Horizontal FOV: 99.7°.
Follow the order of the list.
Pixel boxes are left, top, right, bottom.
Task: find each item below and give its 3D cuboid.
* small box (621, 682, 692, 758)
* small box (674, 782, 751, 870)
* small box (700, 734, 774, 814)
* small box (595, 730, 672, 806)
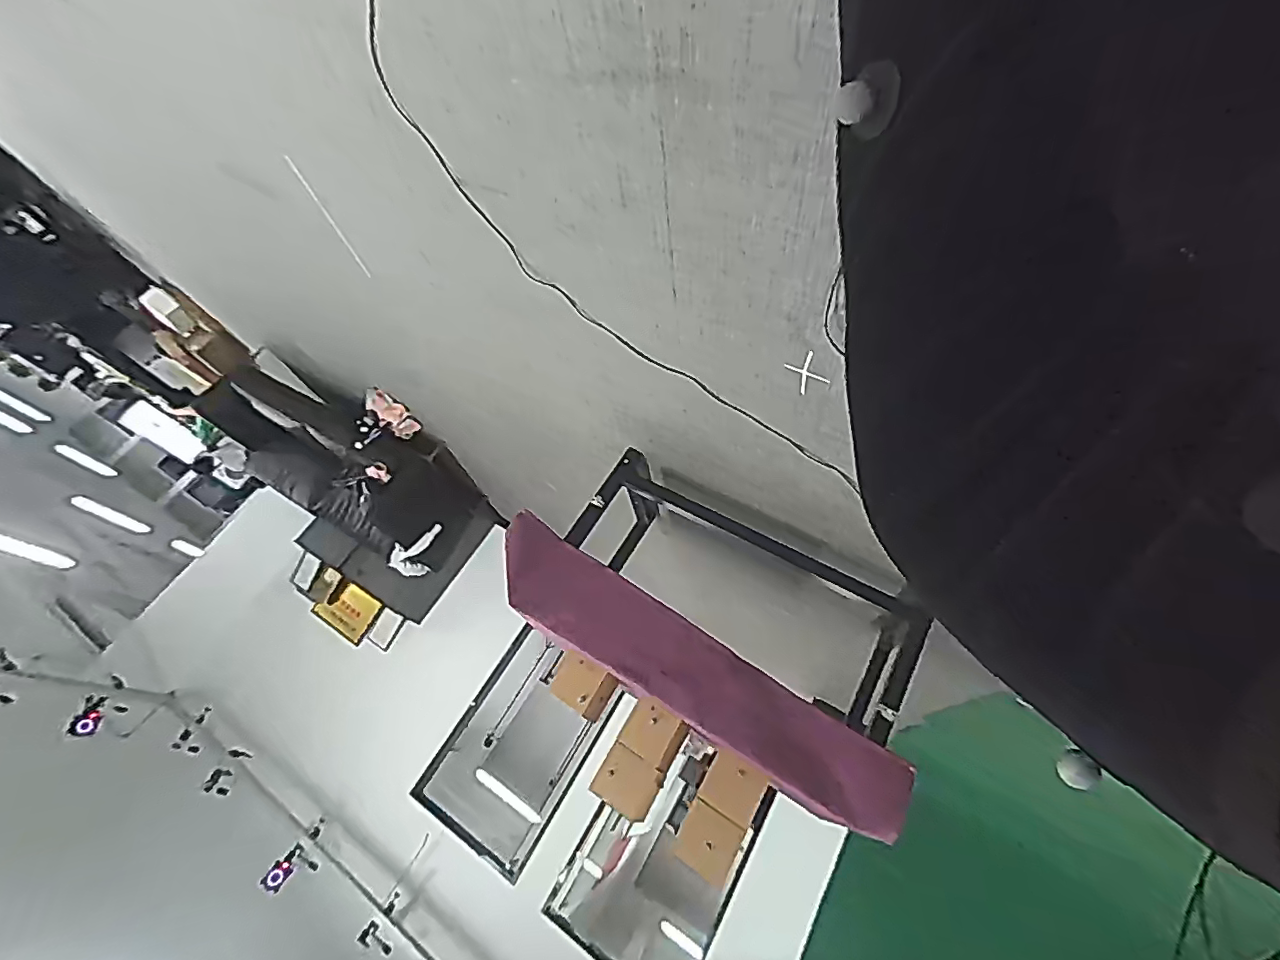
[{"bbox_3d":[0.065,0.825,1.862,0.168,0.176,0.179,22,156,27],"label":"small box"},{"bbox_3d":[0.228,1.071,1.692,0.179,0.176,0.168,24,158,22],"label":"small box"},{"bbox_3d":[0.315,0.943,1.747,0.179,0.176,0.168,25,159,23],"label":"small box"},{"bbox_3d":[-0.019,0.952,1.802,0.179,0.176,0.168,23,158,26],"label":"small box"}]
